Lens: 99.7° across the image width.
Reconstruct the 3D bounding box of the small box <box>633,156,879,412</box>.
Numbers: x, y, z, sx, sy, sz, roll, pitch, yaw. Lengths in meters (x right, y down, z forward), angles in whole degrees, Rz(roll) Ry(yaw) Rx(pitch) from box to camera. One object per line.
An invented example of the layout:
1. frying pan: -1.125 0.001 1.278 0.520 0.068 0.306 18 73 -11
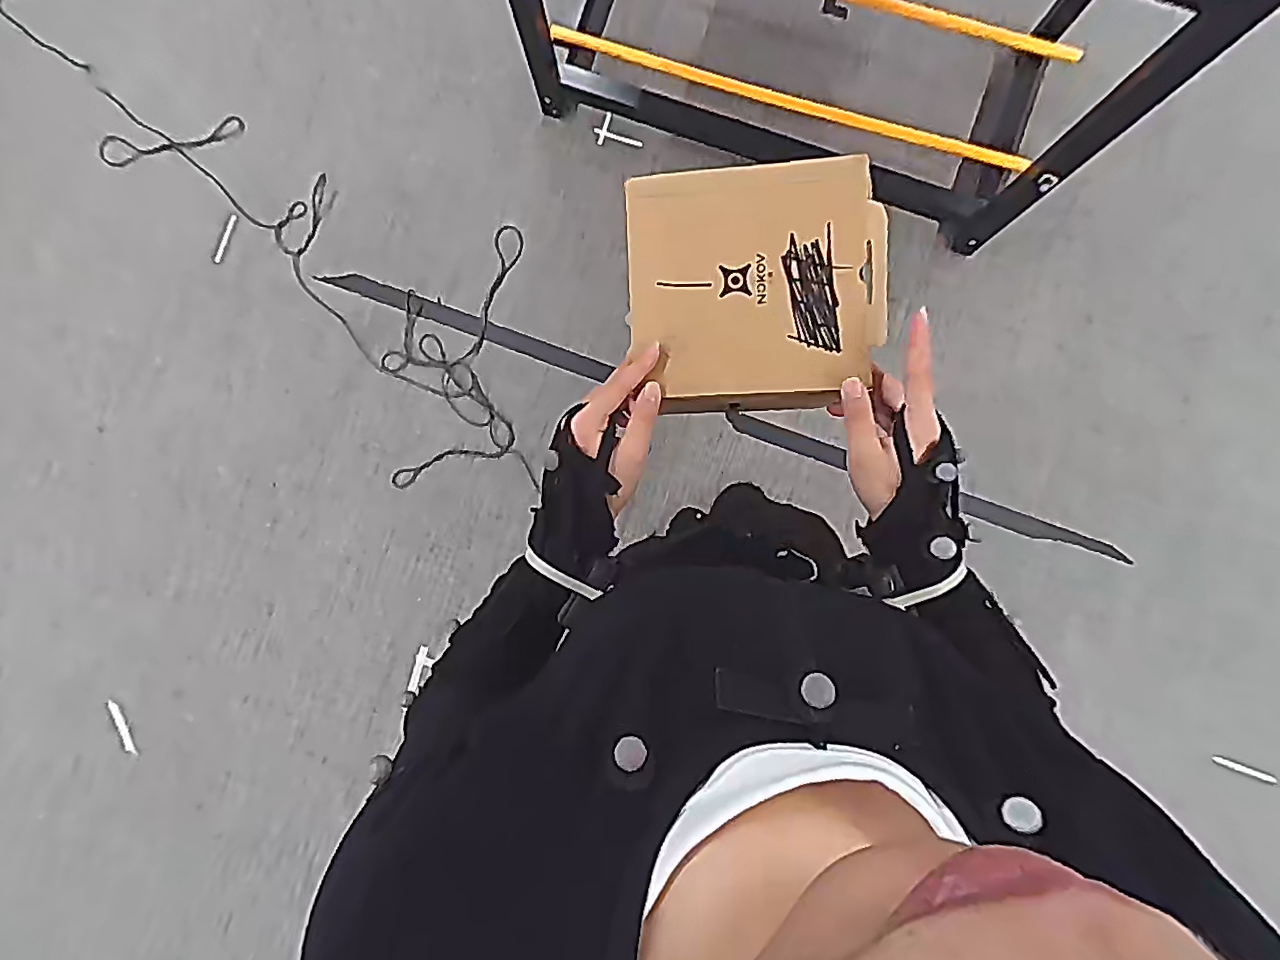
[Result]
1. small box: 0.090 -0.149 0.470 0.179 0.176 0.168 -2 92 7
